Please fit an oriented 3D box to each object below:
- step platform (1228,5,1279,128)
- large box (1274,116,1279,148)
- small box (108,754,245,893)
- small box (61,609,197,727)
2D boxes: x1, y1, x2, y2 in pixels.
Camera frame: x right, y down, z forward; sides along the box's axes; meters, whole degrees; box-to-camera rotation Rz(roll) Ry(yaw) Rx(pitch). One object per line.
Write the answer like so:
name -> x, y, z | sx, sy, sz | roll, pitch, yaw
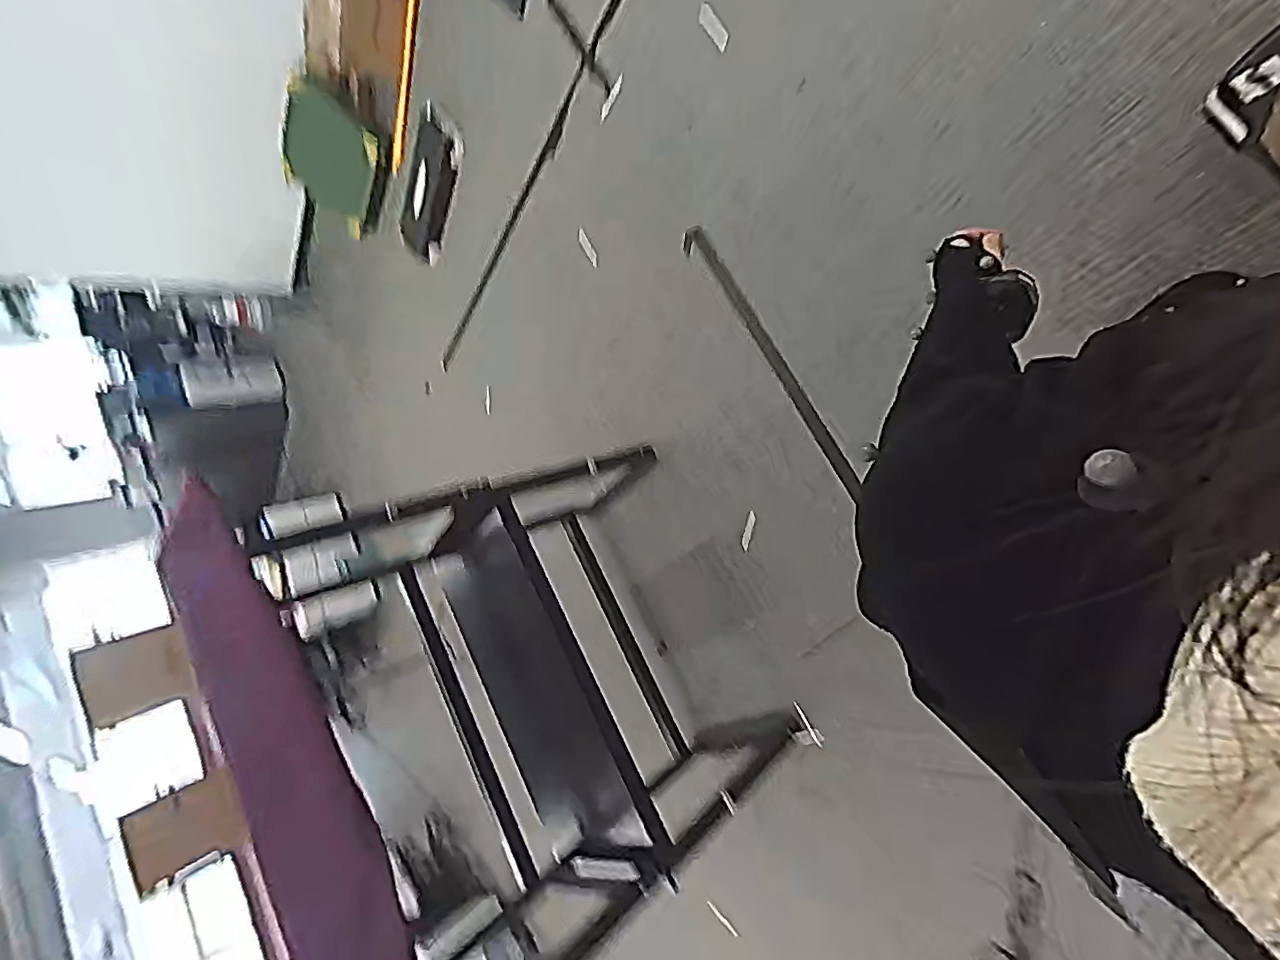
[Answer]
step platform -> 1.166, -0.442, 0.745 | 0.286, 0.204, 0.684 | -31, 78, 46
large box -> 1.013, -0.372, 0.573 | 0.320, 0.320, 0.408 | -34, 77, 45
small box -> -0.918, 0.668, 1.078 | 0.168, 0.176, 0.179 | -36, 76, 46
small box -> -1.046, 0.381, 1.117 | 0.168, 0.176, 0.179 | -36, 76, 46
